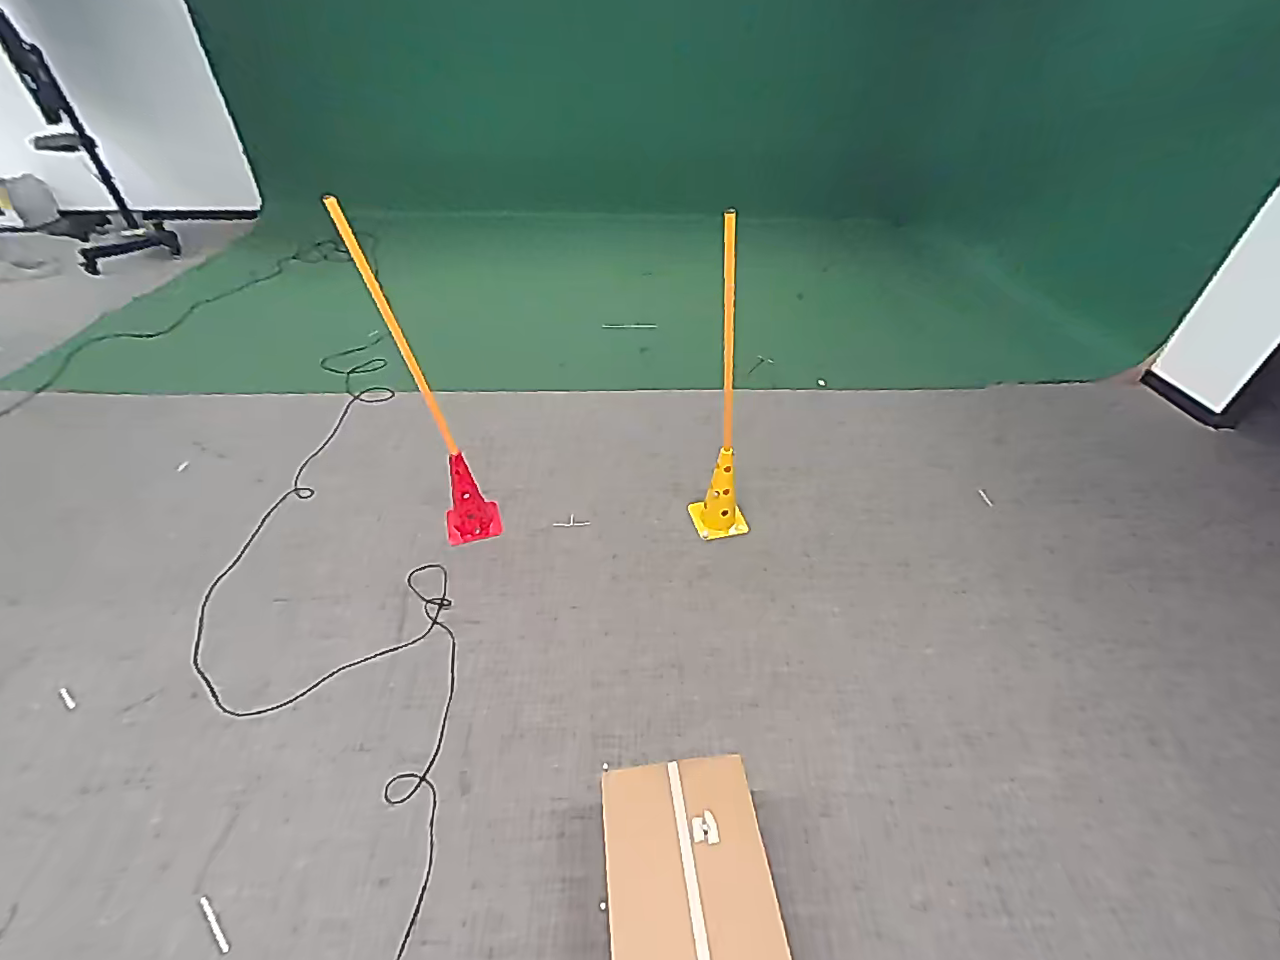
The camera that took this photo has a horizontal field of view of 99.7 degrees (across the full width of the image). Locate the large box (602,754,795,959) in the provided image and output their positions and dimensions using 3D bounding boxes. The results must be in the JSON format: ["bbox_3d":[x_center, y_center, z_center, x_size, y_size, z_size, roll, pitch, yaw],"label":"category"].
[{"bbox_3d":[0.095,0.862,1.130,0.320,0.320,0.408,-3,39,-6],"label":"large box"}]
